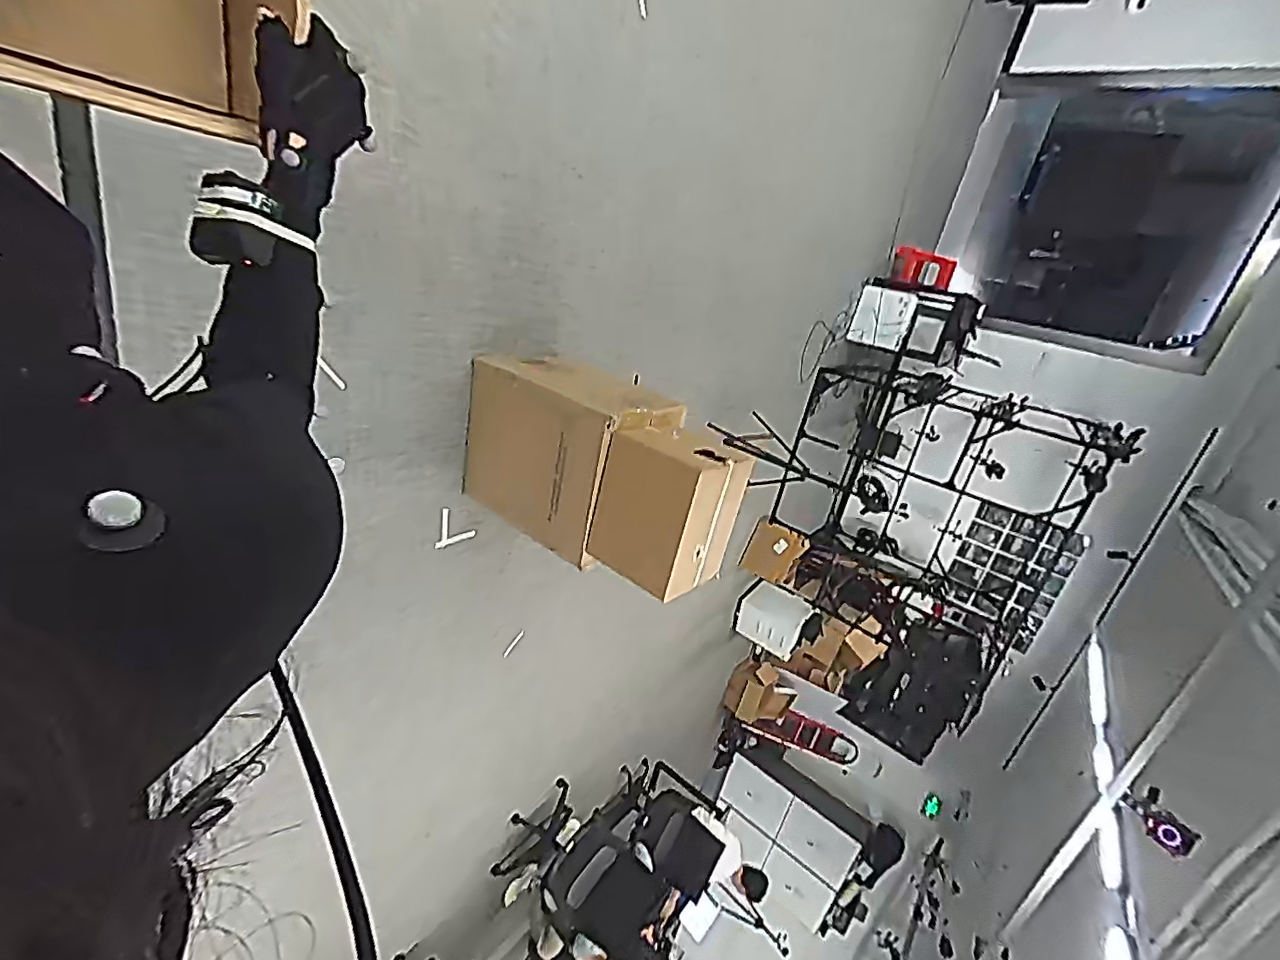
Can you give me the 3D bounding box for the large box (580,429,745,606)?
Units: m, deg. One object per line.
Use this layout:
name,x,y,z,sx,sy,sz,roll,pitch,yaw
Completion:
large box,0.060,0.091,1.621,0.320,0.320,0.408,-12,123,-52
